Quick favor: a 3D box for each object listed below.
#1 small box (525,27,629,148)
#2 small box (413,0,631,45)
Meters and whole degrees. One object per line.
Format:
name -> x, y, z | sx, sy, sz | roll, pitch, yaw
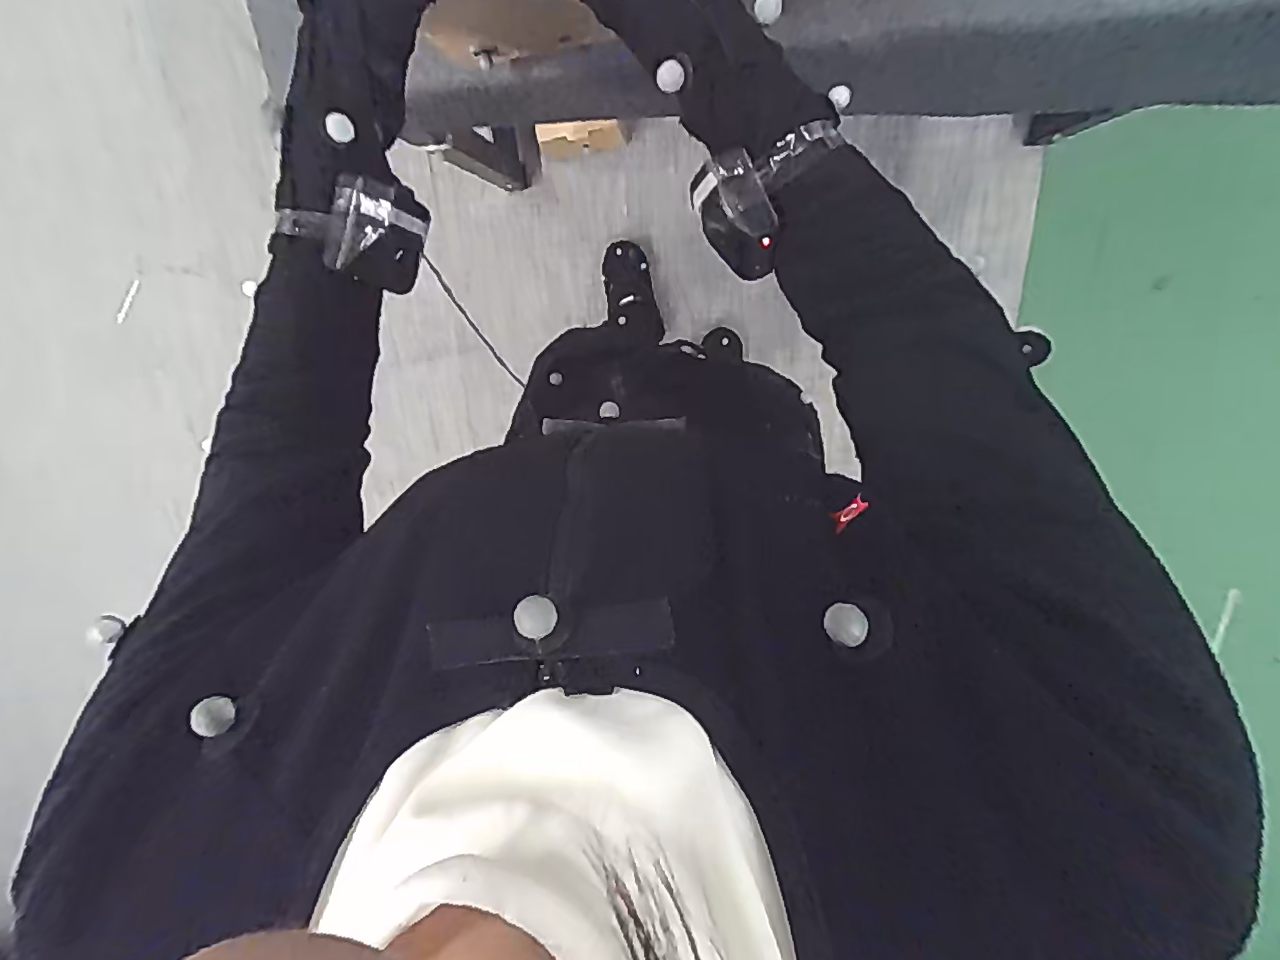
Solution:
small box -> -0.119, -0.800, 1.110 | 0.168, 0.176, 0.179 | -6, 110, 7
small box -> -0.102, -0.455, 0.394 | 0.168, 0.176, 0.179 | -5, 110, 6
